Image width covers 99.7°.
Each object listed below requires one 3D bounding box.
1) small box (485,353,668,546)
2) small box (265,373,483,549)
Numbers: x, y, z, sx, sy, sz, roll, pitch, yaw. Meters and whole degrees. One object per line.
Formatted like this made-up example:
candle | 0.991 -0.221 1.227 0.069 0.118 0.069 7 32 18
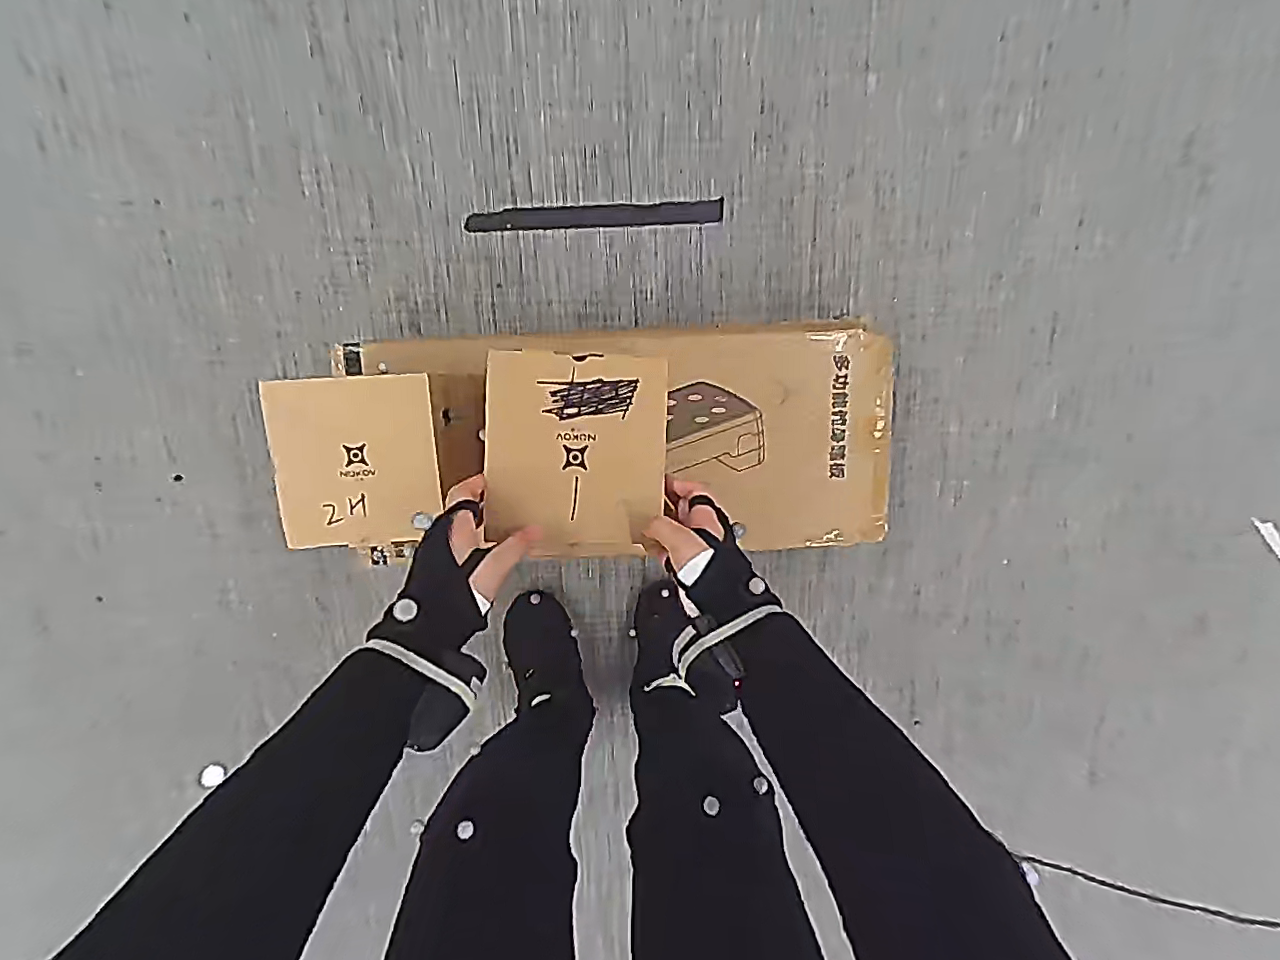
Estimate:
small box | -0.066 -0.027 0.580 0.168 0.176 0.179 2 90 -5
small box | -0.289 -0.031 0.627 0.168 0.176 0.179 -3 101 -2
